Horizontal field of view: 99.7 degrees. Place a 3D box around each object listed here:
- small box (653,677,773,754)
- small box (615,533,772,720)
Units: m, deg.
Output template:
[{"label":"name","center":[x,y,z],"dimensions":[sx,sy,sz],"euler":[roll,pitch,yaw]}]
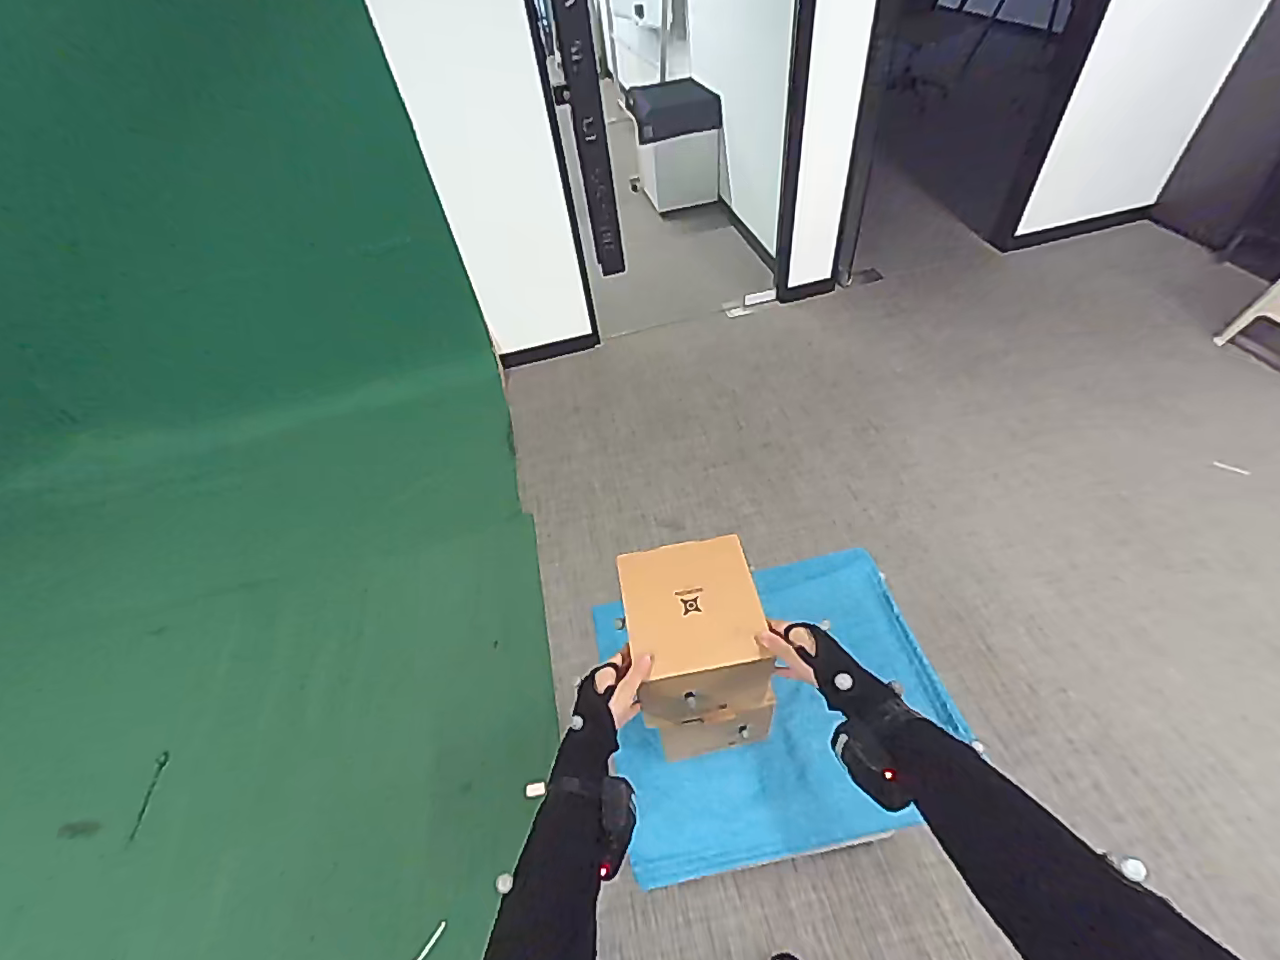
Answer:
[{"label":"small box","center":[0.095,0.303,0.833],"dimensions":[0.168,0.176,0.179],"euler":[-11,47,-3]},{"label":"small box","center":[0.066,0.199,0.713],"dimensions":[0.168,0.176,0.179],"euler":[-10,47,-2]}]
